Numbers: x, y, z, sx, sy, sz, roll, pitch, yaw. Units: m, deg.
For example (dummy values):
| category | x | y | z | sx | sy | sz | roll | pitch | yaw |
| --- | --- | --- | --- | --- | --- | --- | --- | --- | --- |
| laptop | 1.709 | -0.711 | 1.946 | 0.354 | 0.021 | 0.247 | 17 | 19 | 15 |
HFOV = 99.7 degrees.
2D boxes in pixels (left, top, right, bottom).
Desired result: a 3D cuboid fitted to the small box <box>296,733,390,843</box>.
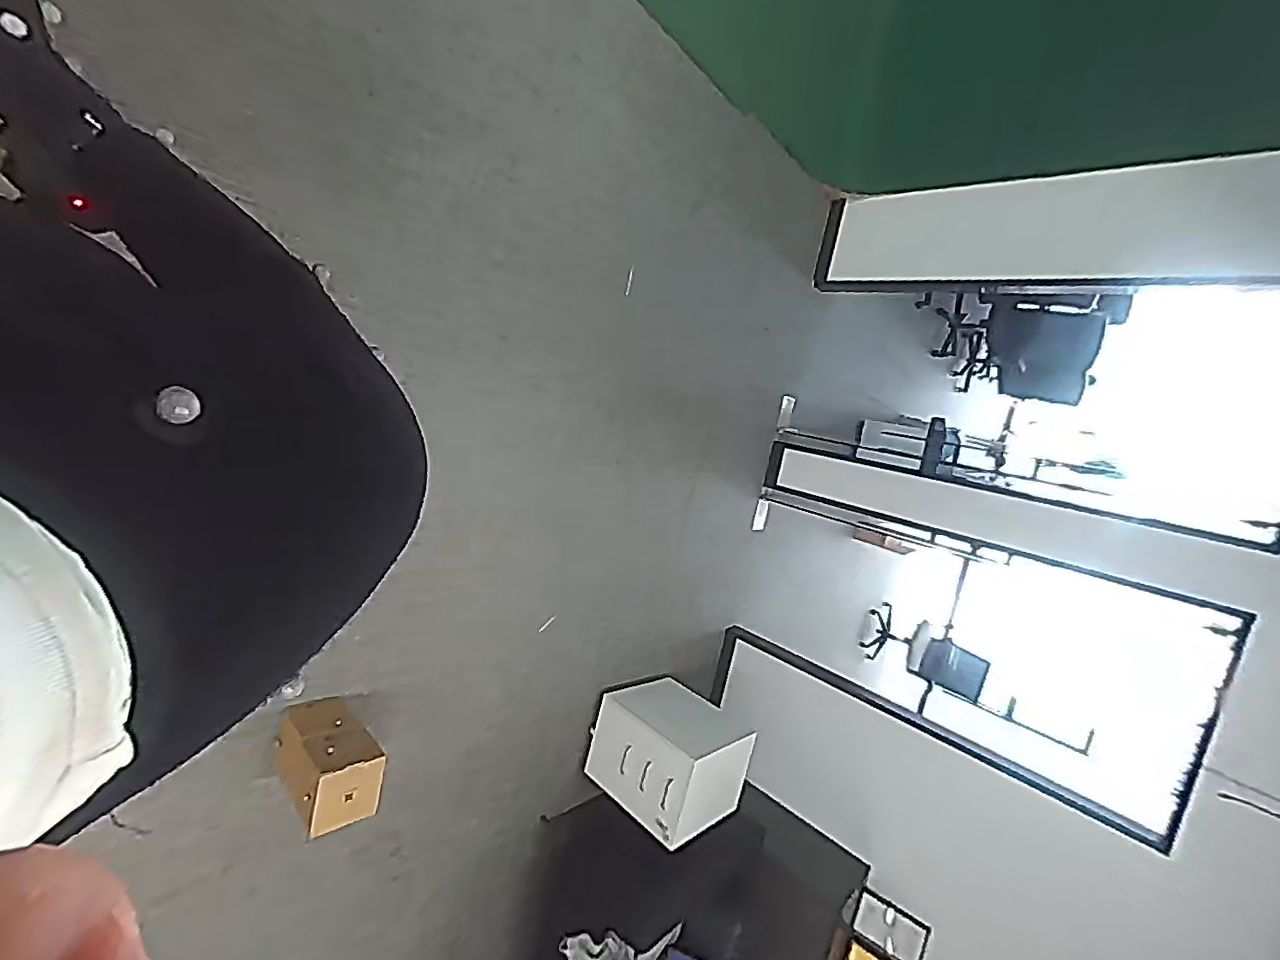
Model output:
| category | x | y | z | sx | sy | sz | roll | pitch | yaw |
| --- | --- | --- | --- | --- | --- | --- | --- | --- | --- |
| small box | -0.799 | 0.809 | 1.450 | 0.168 | 0.176 | 0.179 | 5 | 101 | -48 |

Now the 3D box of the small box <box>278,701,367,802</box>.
| category | x | y | z | sx | sy | sz | roll | pitch | yaw |
| --- | --- | --- | --- | --- | --- | --- | --- | --- | --- |
| small box | -0.917 | 0.771 | 1.555 | 0.168 | 0.176 | 0.179 | 8 | 97 | -50 |
